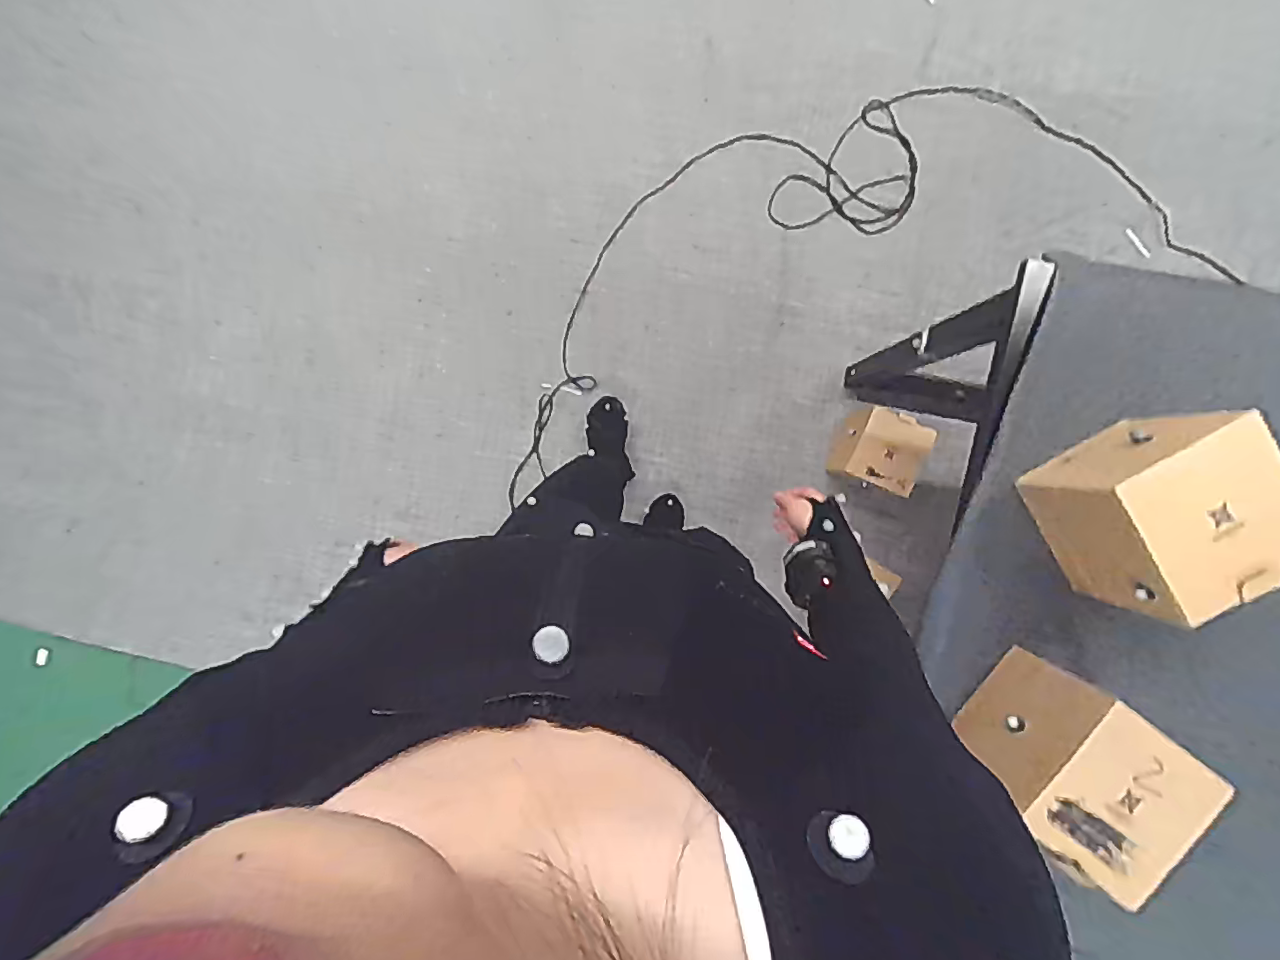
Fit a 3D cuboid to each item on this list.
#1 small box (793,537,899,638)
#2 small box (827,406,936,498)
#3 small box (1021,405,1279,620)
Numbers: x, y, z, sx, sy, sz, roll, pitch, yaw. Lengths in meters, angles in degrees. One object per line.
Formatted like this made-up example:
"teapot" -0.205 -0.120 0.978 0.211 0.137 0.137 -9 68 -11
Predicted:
"small box" 0.514 0.267 1.383 0.168 0.176 0.179 32 92 0
"small box" 0.599 -0.069 1.367 0.168 0.176 0.179 24 92 1
"small box" 0.609 0.033 0.642 0.168 0.176 0.179 -30 91 3
